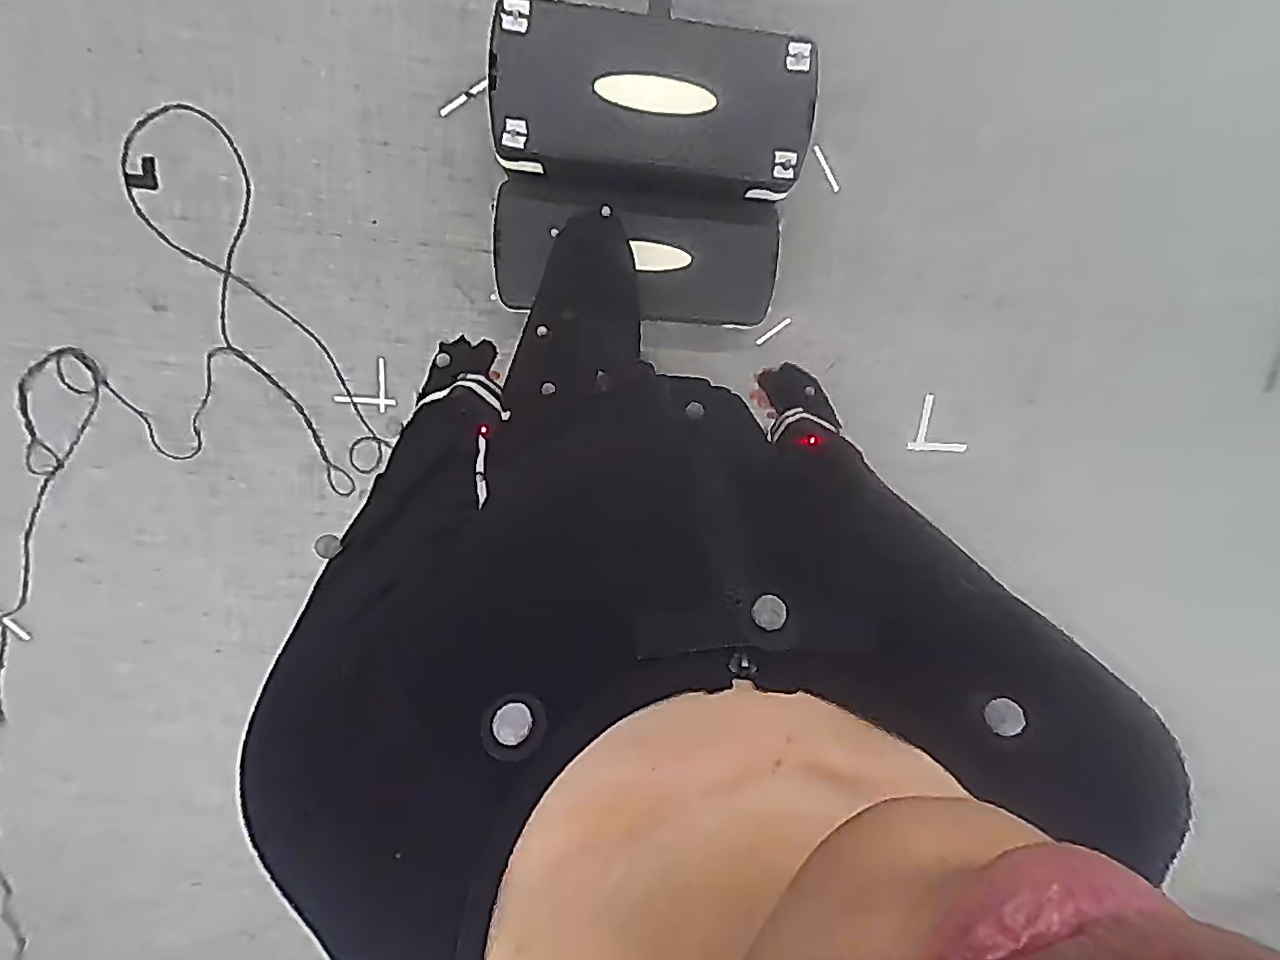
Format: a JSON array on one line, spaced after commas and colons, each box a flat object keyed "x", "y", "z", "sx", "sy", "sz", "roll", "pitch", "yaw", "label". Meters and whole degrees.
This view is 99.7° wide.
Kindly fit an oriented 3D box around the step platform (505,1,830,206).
[{"x": 0.055, "y": -0.801, "z": 1.181, "sx": 0.684, "sy": 0.204, "sz": 0.286, "roll": 3, "pitch": 105, "yaw": -6, "label": "step platform"}]
